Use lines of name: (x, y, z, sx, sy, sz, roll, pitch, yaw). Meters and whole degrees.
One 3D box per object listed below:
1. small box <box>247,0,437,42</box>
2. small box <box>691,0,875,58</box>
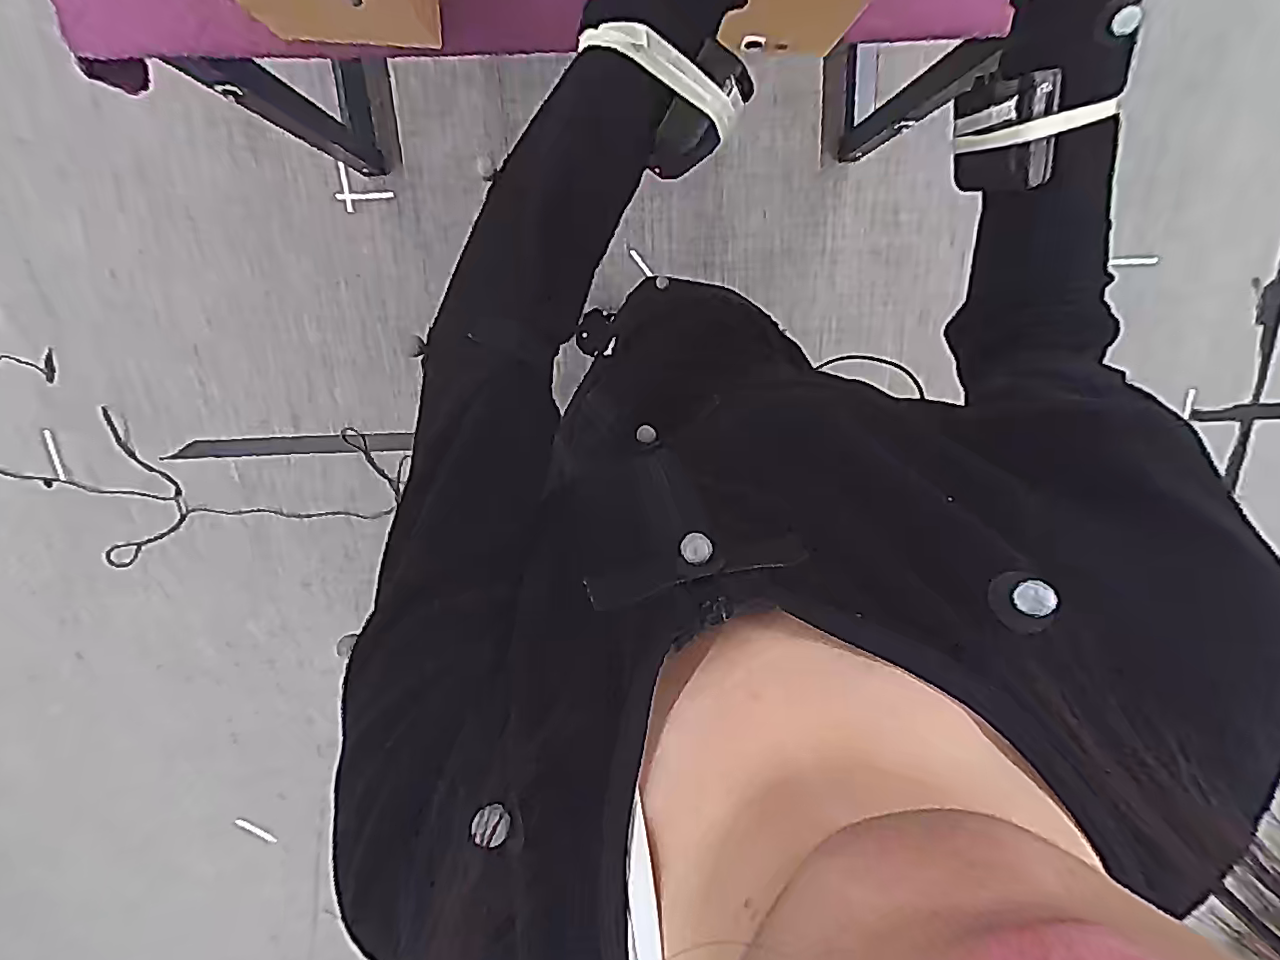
small box: (-0.297, -0.539, 0.497, 0.179, 0.176, 0.168, 1, 107, -3)
small box: (0.139, -0.545, 0.520, 0.168, 0.176, 0.179, -2, 109, -1)
